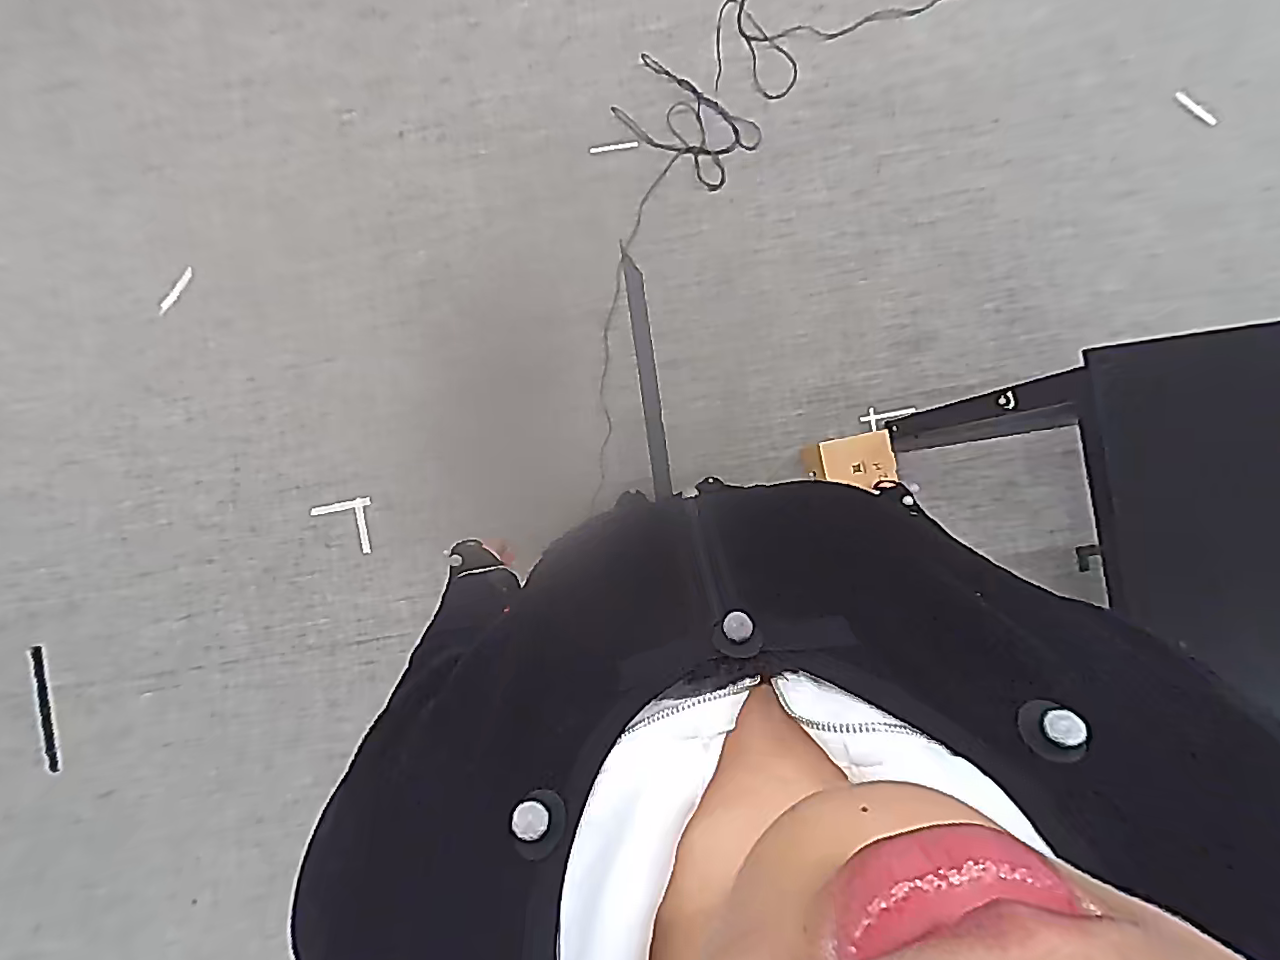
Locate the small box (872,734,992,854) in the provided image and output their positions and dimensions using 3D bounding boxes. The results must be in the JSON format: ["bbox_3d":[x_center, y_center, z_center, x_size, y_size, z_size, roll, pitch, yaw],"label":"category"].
[{"bbox_3d":[0.744,0.798,1.398,0.179,0.176,0.168,35,90,2],"label":"small box"}]
